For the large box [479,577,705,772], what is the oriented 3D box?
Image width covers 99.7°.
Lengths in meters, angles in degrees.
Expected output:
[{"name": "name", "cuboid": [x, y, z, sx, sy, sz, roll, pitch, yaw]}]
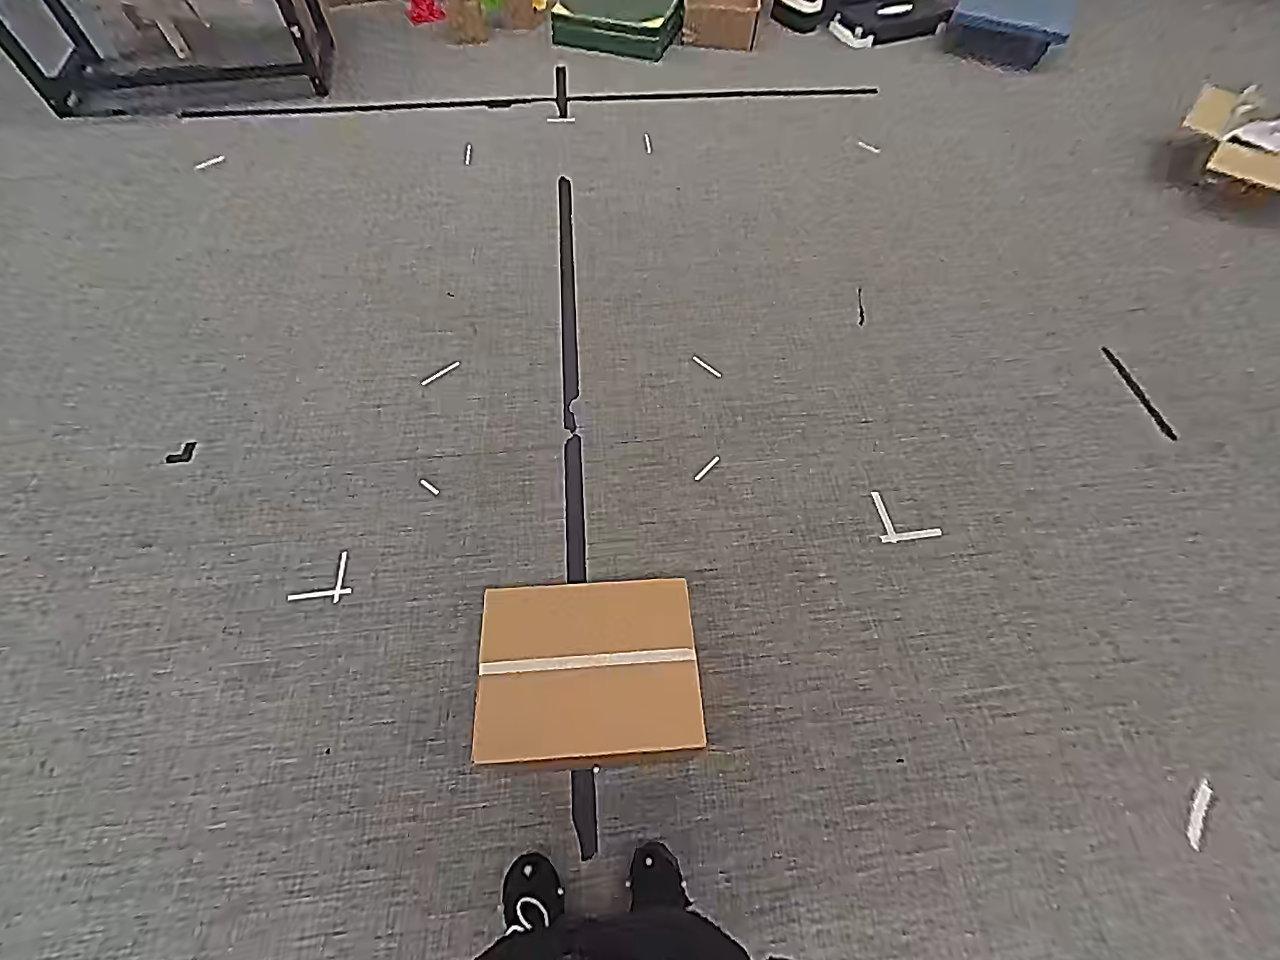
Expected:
[{"name": "large box", "cuboid": [-0.097, 0.418, 1.141, 0.408, 0.320, 0.320, -3, 59, -3]}]
